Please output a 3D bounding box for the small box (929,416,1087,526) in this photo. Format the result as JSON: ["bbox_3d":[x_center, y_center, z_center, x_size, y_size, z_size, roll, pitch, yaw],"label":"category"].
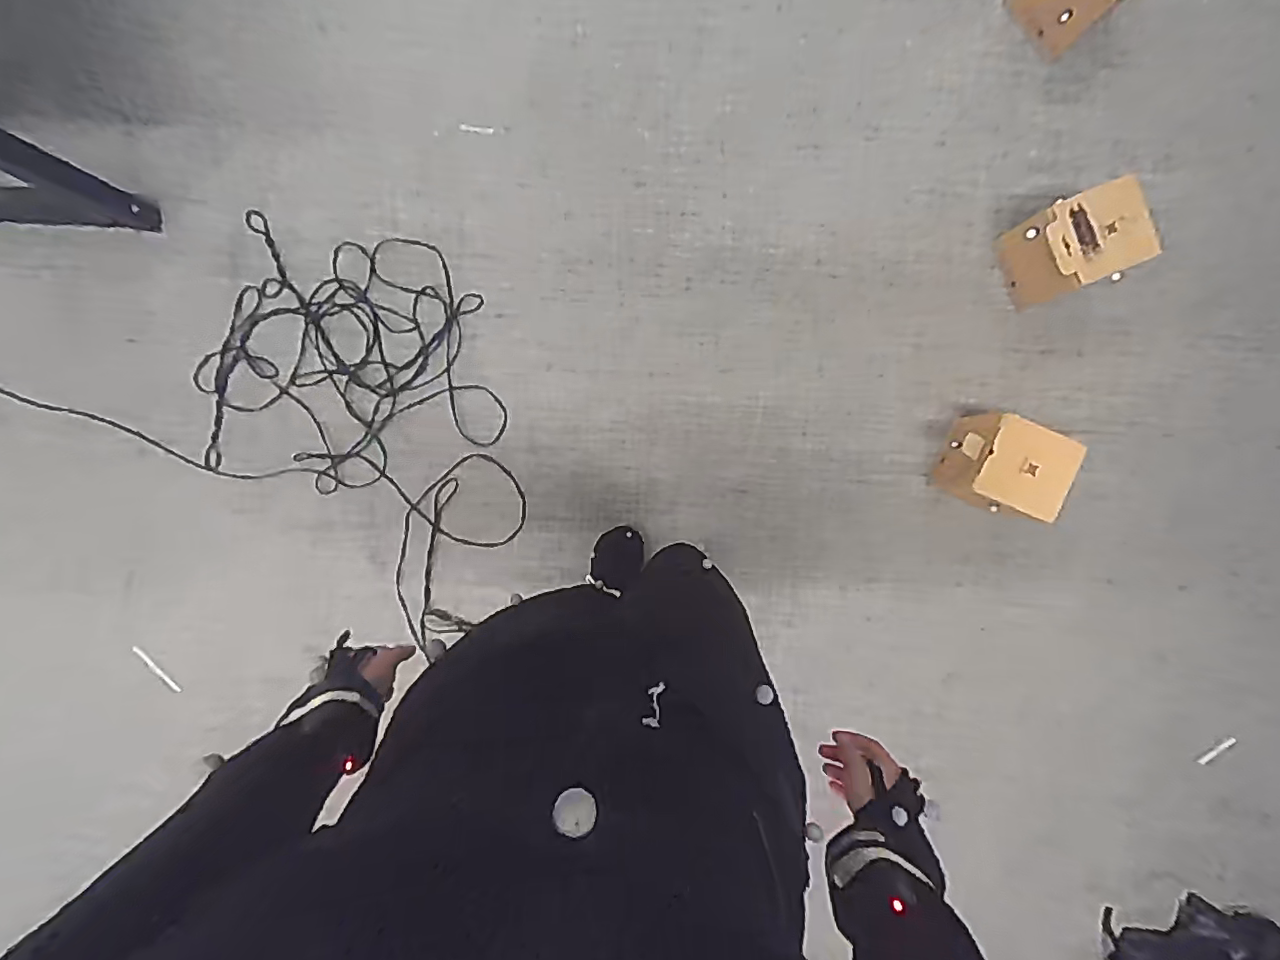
[{"bbox_3d":[0.746,-0.022,1.116,0.179,0.176,0.168,23,93,0],"label":"small box"}]

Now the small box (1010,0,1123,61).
[{"bbox_3d":[0.886,-1.000,1.075,0.179,0.176,0.168,-41,93,0],"label":"small box"}]
